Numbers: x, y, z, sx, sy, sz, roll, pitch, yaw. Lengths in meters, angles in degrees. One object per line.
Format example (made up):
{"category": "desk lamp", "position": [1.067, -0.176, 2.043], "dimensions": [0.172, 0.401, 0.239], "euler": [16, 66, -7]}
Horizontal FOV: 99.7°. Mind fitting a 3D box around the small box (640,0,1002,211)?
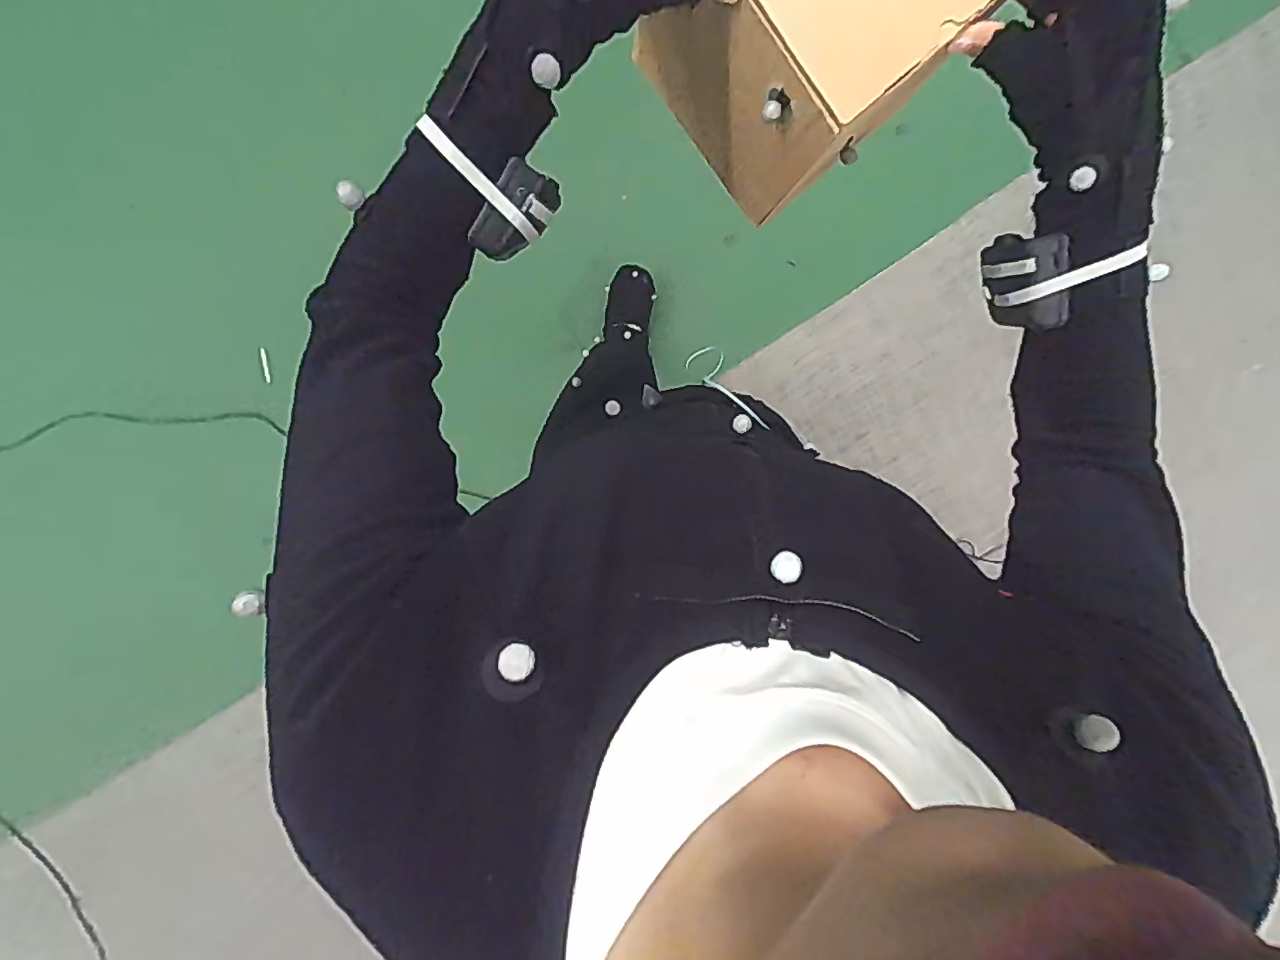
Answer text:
{"category": "small box", "position": [0.117, -0.336, 0.387], "dimensions": [0.168, 0.176, 0.179], "euler": [-40, 100, 0]}
